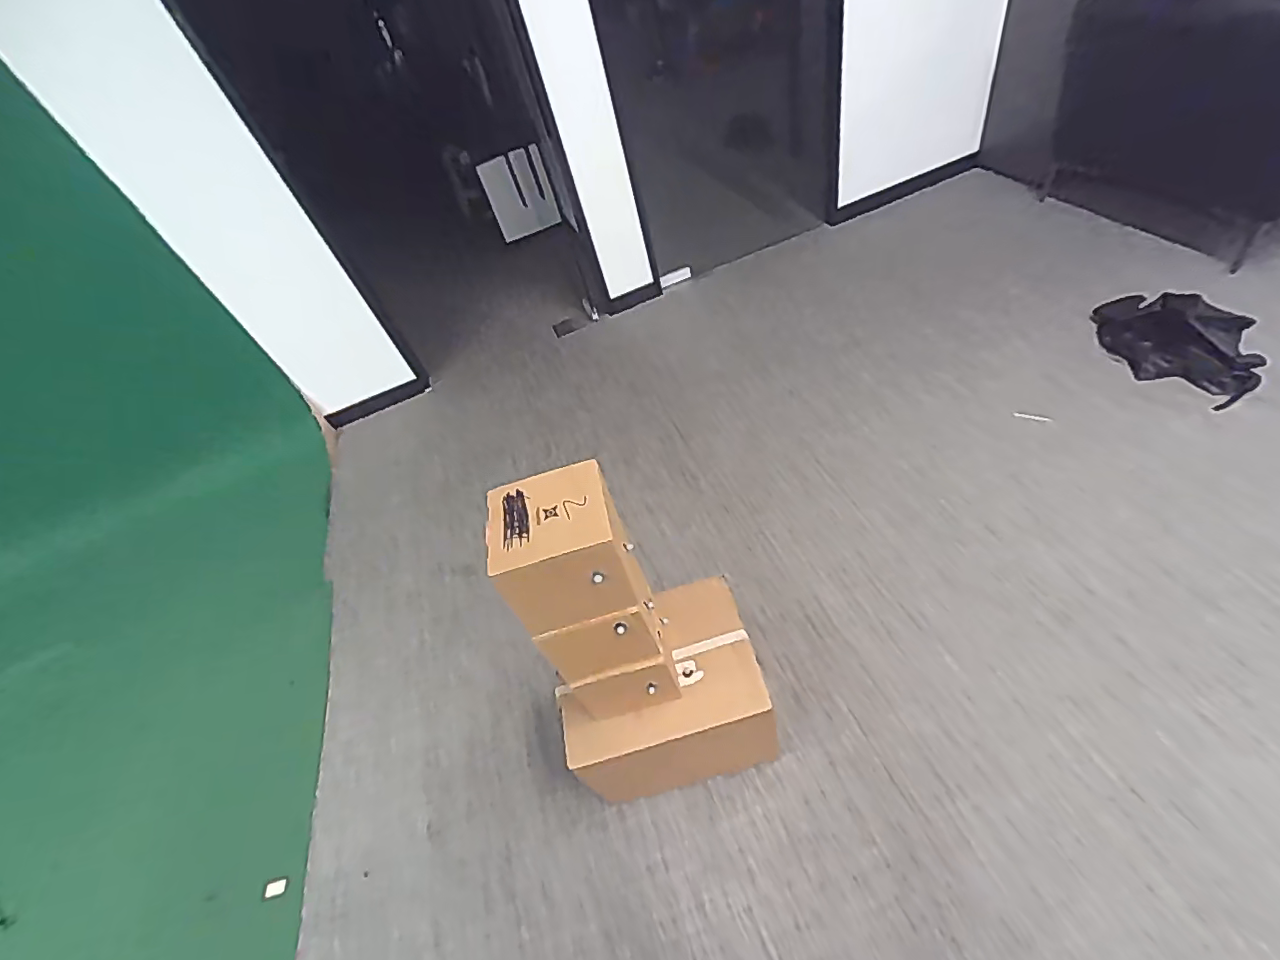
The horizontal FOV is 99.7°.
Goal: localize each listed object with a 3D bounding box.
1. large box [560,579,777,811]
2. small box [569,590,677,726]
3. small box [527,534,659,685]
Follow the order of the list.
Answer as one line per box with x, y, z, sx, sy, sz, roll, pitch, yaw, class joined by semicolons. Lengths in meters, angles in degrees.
0.059;0.485;1.211;0.408;0.320;0.320;-17;47;0;large box
-0.034;0.342;1.034;0.179;0.176;0.168;-18;44;2;small box
-0.080;0.226;0.929;0.179;0.176;0.168;-17;45;1;small box
